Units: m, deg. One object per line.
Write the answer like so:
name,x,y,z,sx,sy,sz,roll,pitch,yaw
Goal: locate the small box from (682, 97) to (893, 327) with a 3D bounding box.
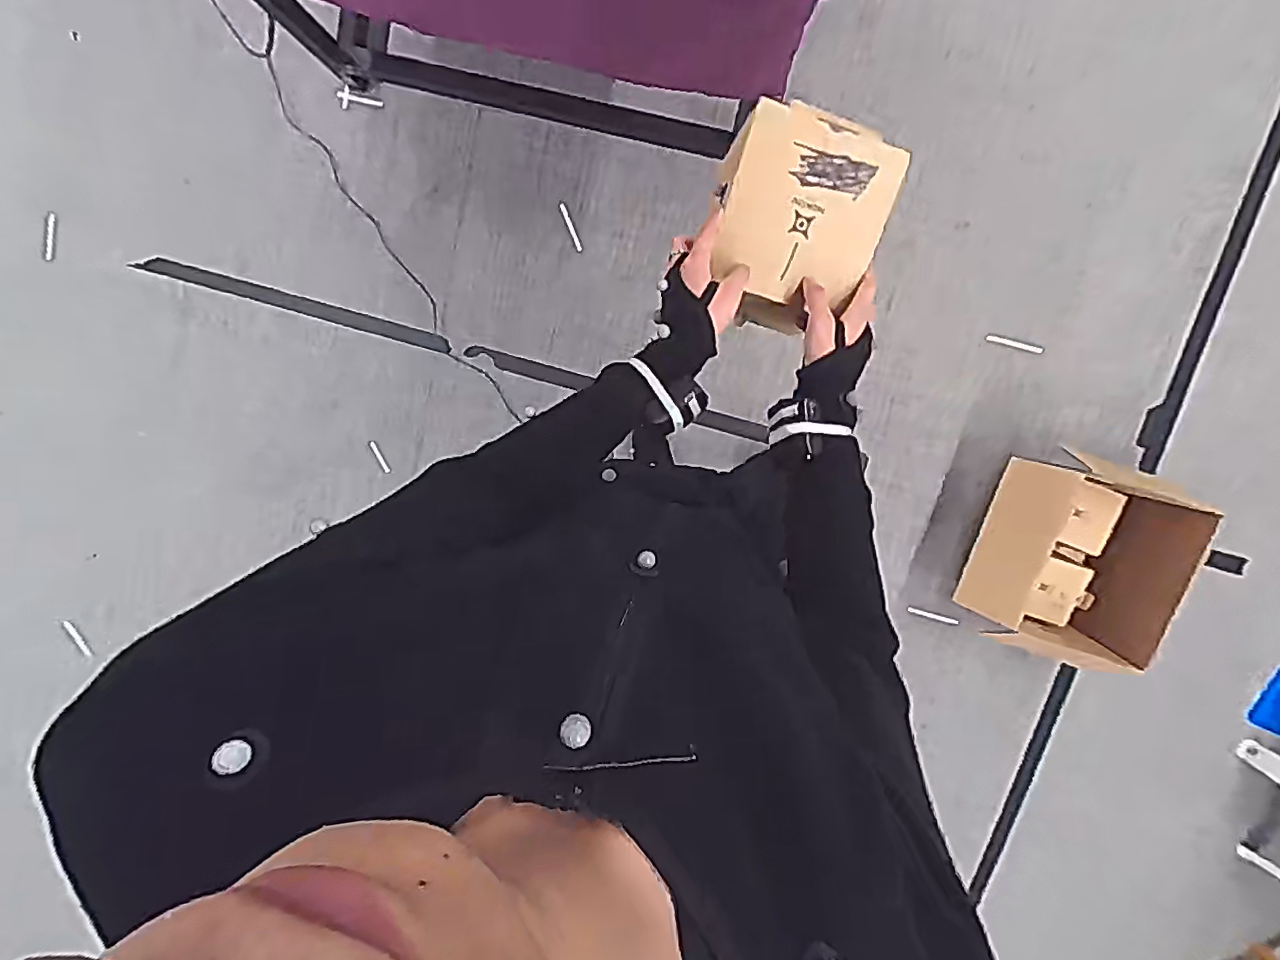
small box,0.155,-0.294,0.637,0.168,0.176,0.179,15,100,-6
